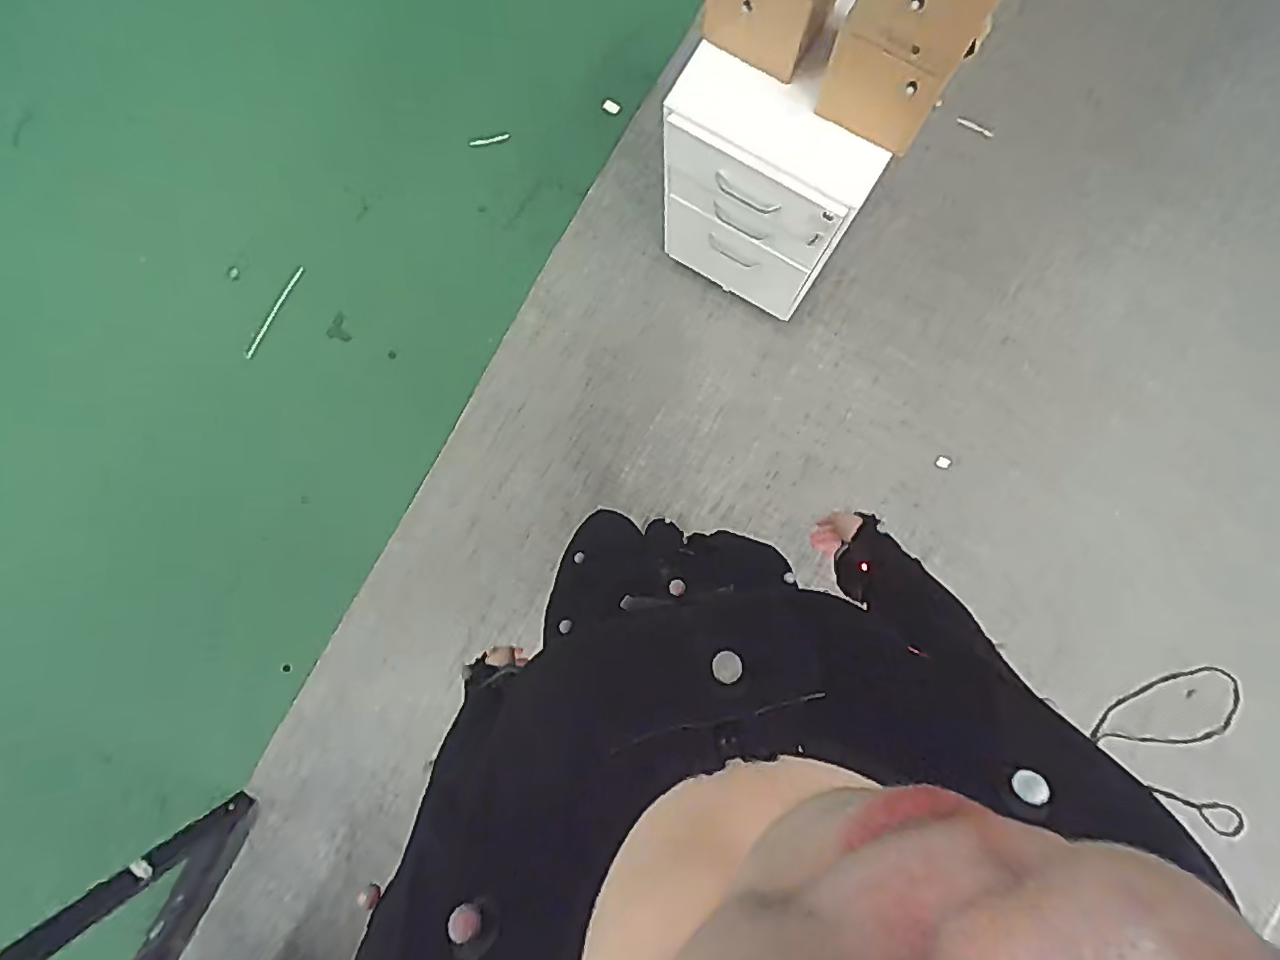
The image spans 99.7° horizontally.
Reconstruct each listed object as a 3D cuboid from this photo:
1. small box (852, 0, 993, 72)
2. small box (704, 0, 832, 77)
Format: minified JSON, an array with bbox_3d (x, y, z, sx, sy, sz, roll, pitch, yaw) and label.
[{"bbox_3d":[0.400,-0.686,0.694,0.168,0.176,0.179,32,88,4],"label":"small box"},{"bbox_3d":[0.218,-0.812,0.875,0.179,0.176,0.168,31,89,2],"label":"small box"}]
